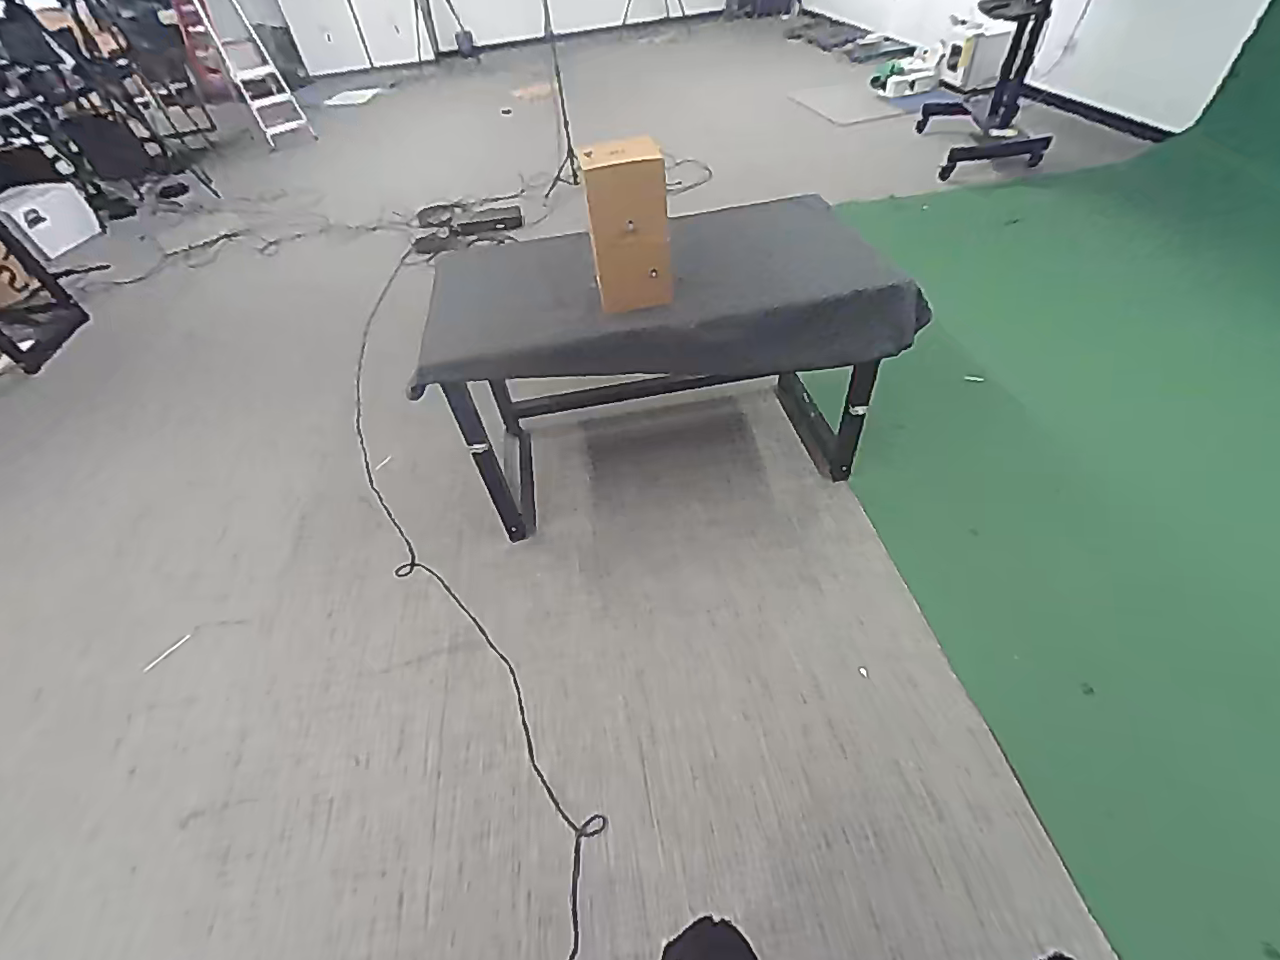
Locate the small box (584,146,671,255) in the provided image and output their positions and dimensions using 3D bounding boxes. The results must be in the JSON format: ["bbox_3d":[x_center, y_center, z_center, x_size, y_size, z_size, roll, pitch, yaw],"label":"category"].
[{"bbox_3d":[-0.027,-0.640,1.242,0.179,0.176,0.168,-10,45,-2],"label":"small box"}]

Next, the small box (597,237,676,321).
[{"bbox_3d":[-0.008,-0.521,1.354,0.179,0.176,0.168,-12,45,-1],"label":"small box"}]
